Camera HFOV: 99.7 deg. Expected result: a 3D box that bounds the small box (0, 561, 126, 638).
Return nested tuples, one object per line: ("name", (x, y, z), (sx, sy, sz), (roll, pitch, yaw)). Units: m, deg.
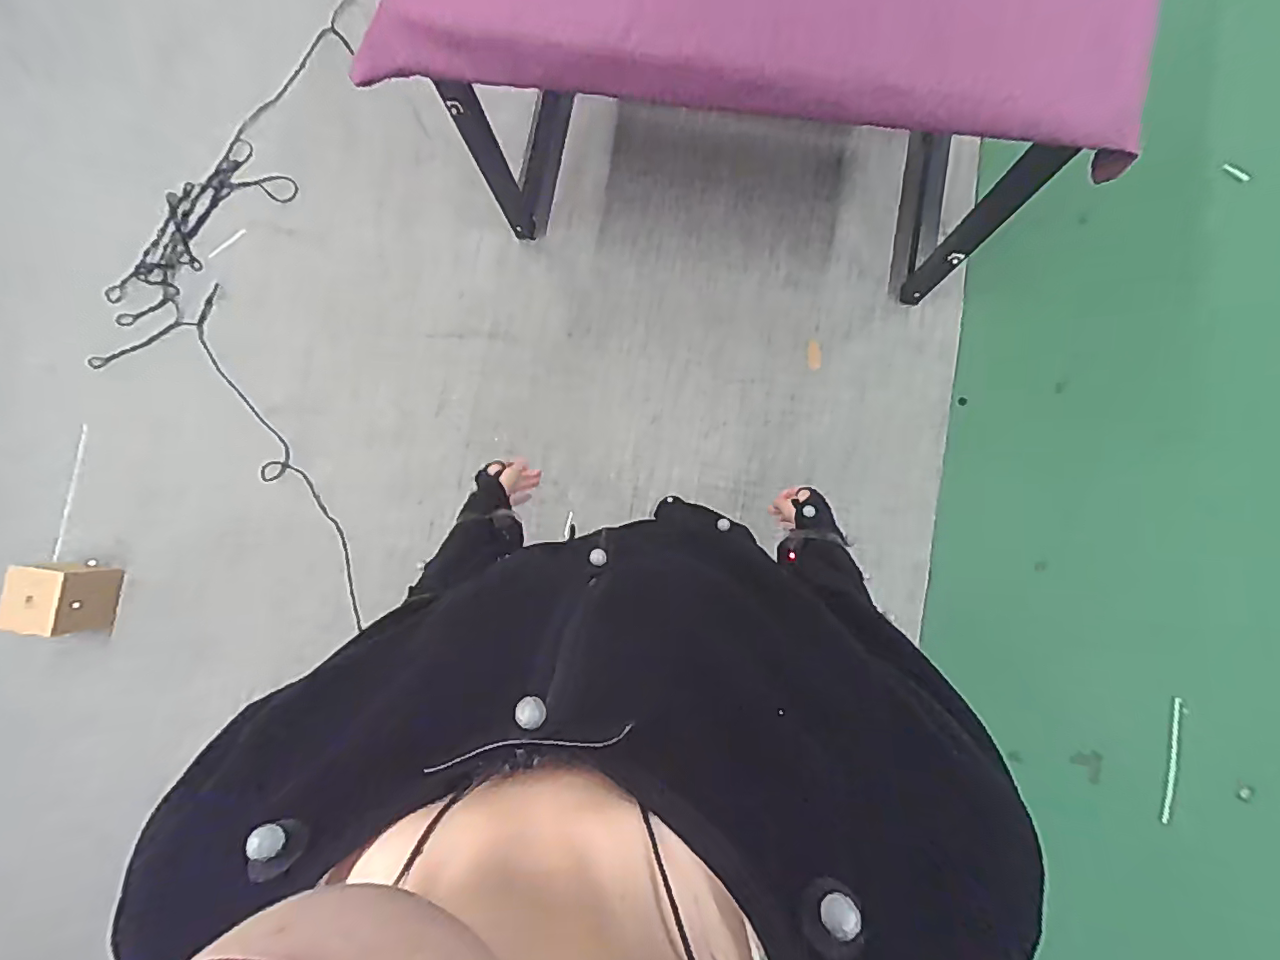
("small box", (-1.619, 0.331, 1.526), (0.168, 0.176, 0.179), (8, 85, 4))
